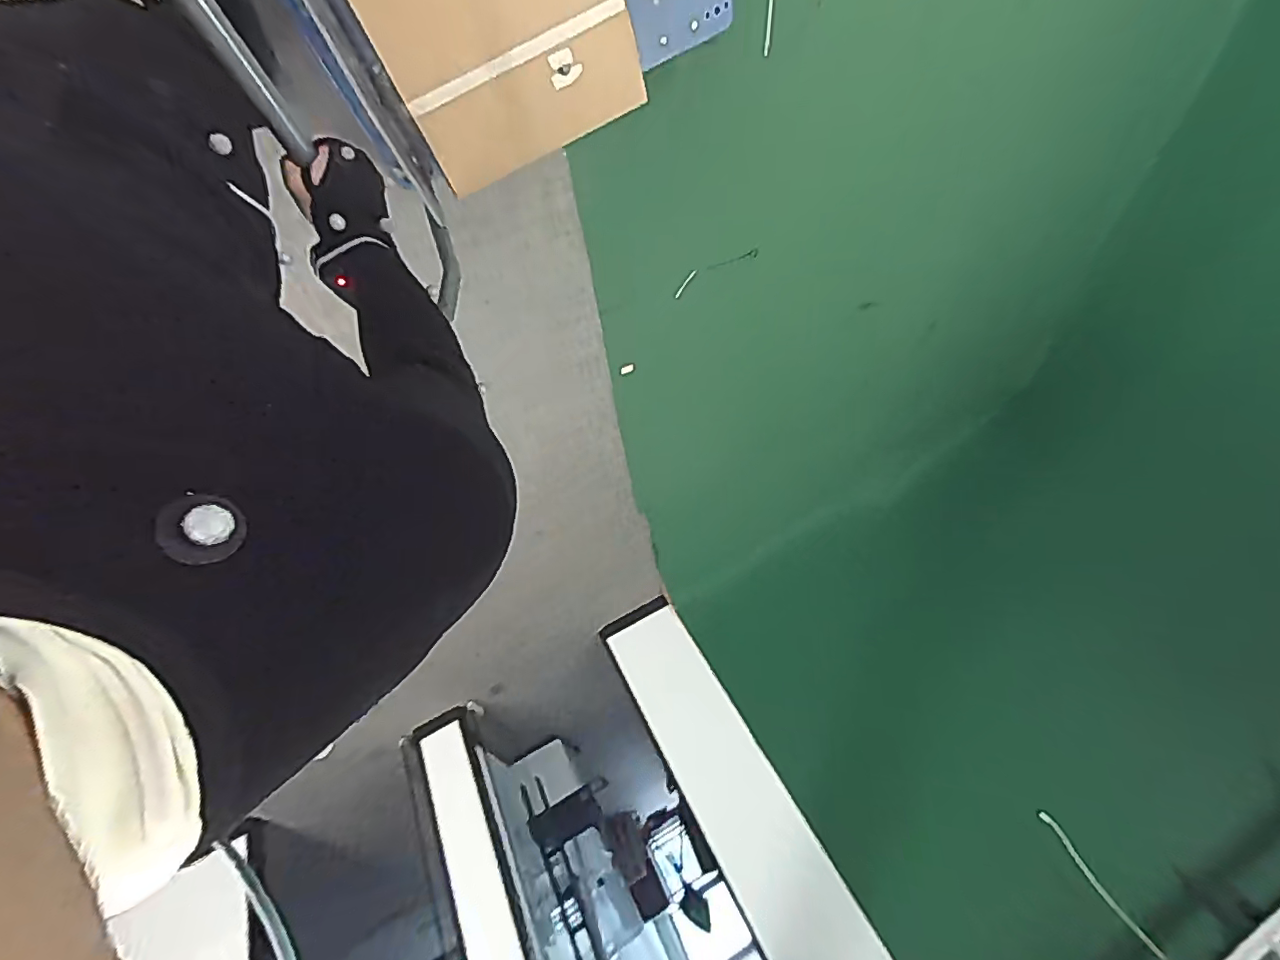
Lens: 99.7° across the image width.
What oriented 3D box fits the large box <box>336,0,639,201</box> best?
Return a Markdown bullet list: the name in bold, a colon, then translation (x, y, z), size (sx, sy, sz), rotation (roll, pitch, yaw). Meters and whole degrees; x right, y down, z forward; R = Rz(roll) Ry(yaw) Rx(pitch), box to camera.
- **large box**: translation (-0.274, -0.793, 0.982), size (0.408, 0.320, 0.320), rotation (-30, 143, -4)
